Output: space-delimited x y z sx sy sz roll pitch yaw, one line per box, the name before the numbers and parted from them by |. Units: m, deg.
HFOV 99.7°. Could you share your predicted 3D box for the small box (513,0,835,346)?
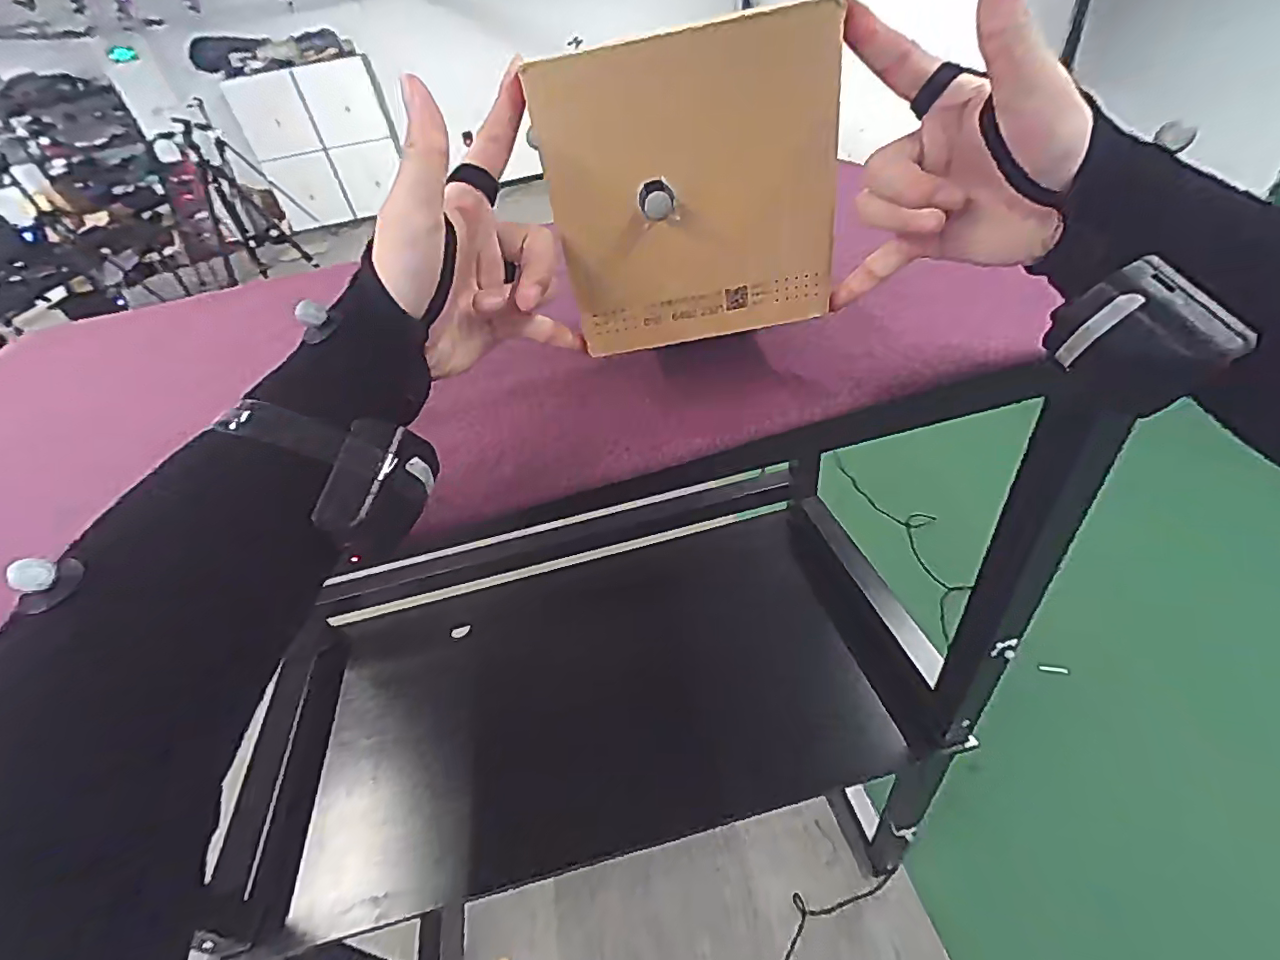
small box | 0.027 -0.205 0.376 0.168 0.176 0.179 -10 38 4
